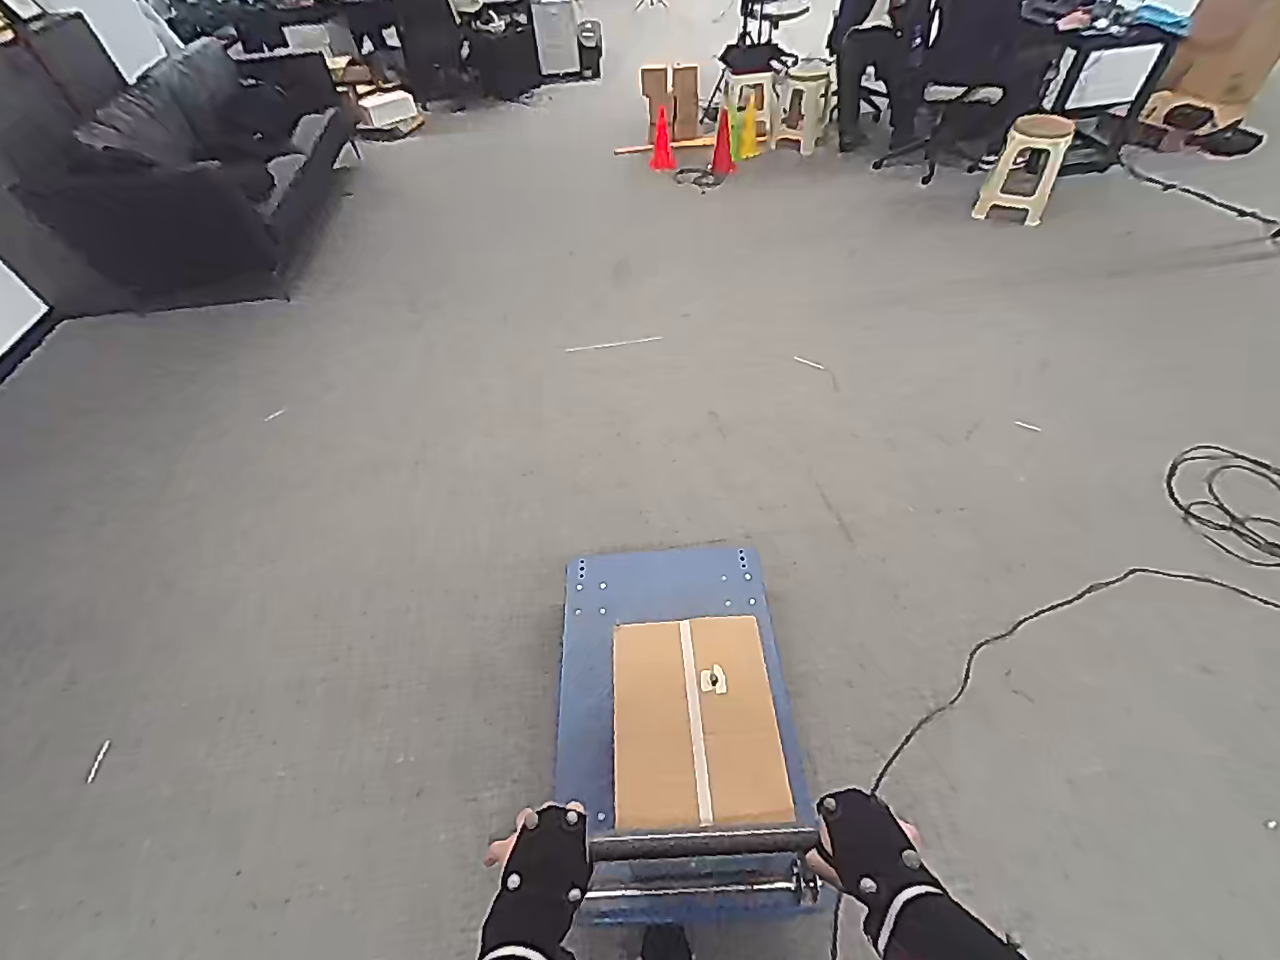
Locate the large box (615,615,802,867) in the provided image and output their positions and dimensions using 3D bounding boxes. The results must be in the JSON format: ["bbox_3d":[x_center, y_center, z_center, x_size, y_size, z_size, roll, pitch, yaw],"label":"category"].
[{"bbox_3d":[0.121,0.549,1.148,0.320,0.320,0.408,-4,48,0],"label":"large box"}]
